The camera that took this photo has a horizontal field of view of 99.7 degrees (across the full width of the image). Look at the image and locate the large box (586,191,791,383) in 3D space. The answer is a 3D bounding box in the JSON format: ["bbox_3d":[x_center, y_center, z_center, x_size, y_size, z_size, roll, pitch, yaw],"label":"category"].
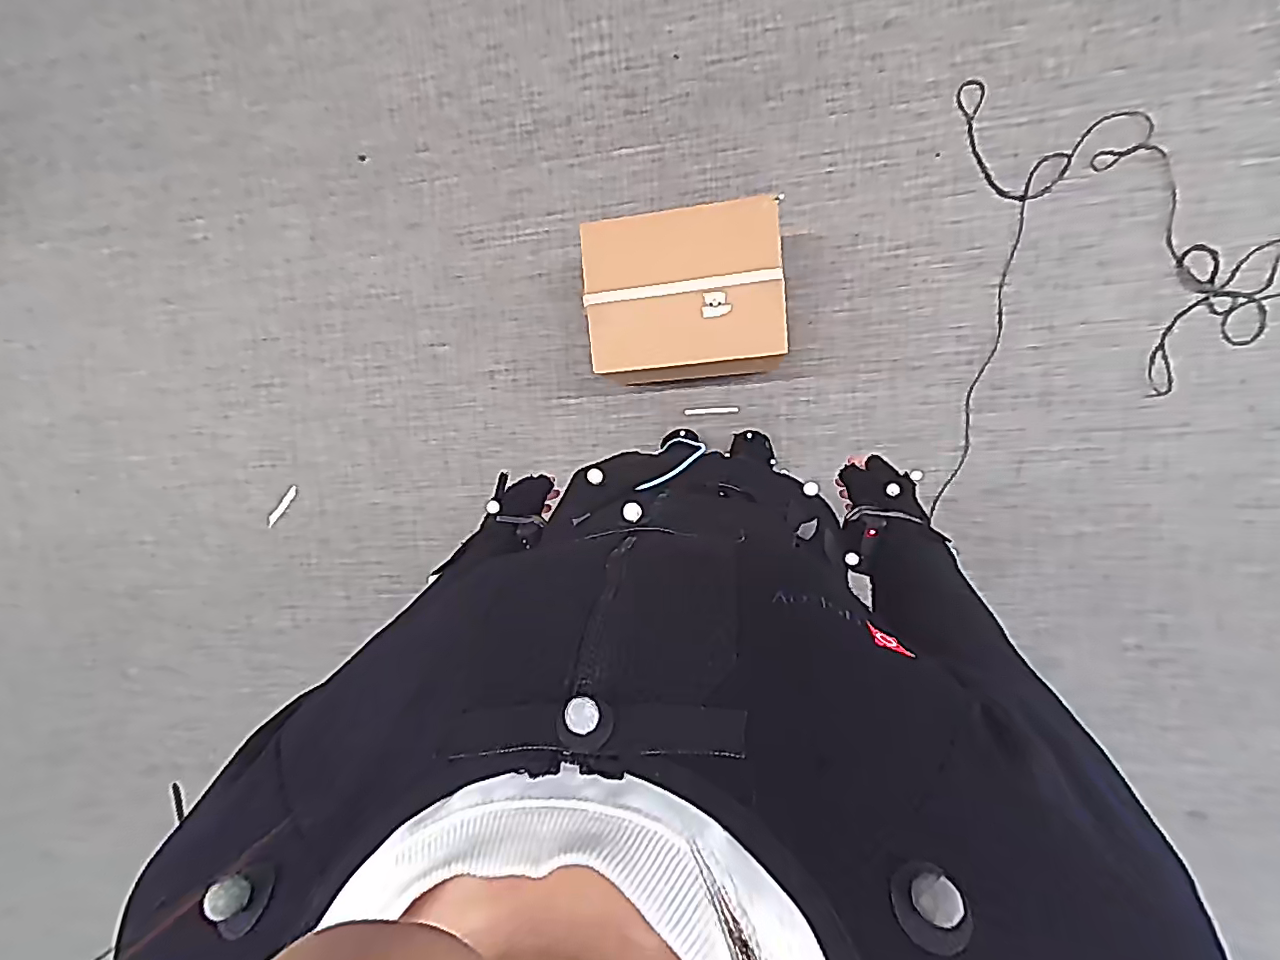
[{"bbox_3d":[0.116,-0.412,1.251,0.408,0.320,0.320,-4,95,9],"label":"large box"}]
